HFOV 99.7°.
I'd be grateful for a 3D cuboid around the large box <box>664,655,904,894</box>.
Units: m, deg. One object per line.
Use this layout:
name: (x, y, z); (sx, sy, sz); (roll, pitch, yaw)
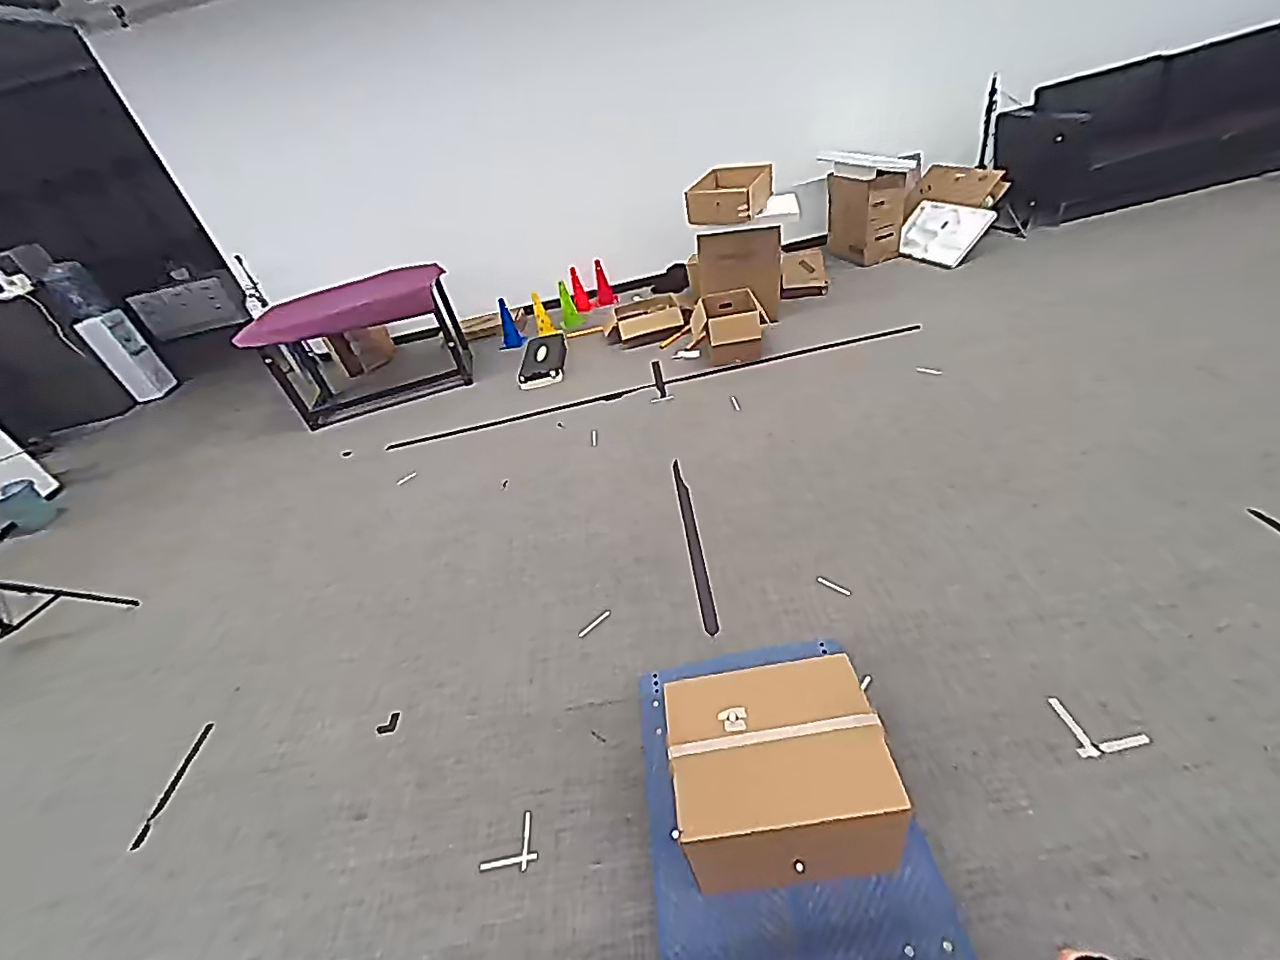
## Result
large box: (0.289, 0.628, 1.154); (0.408, 0.320, 0.320); (-12, 36, 5)
